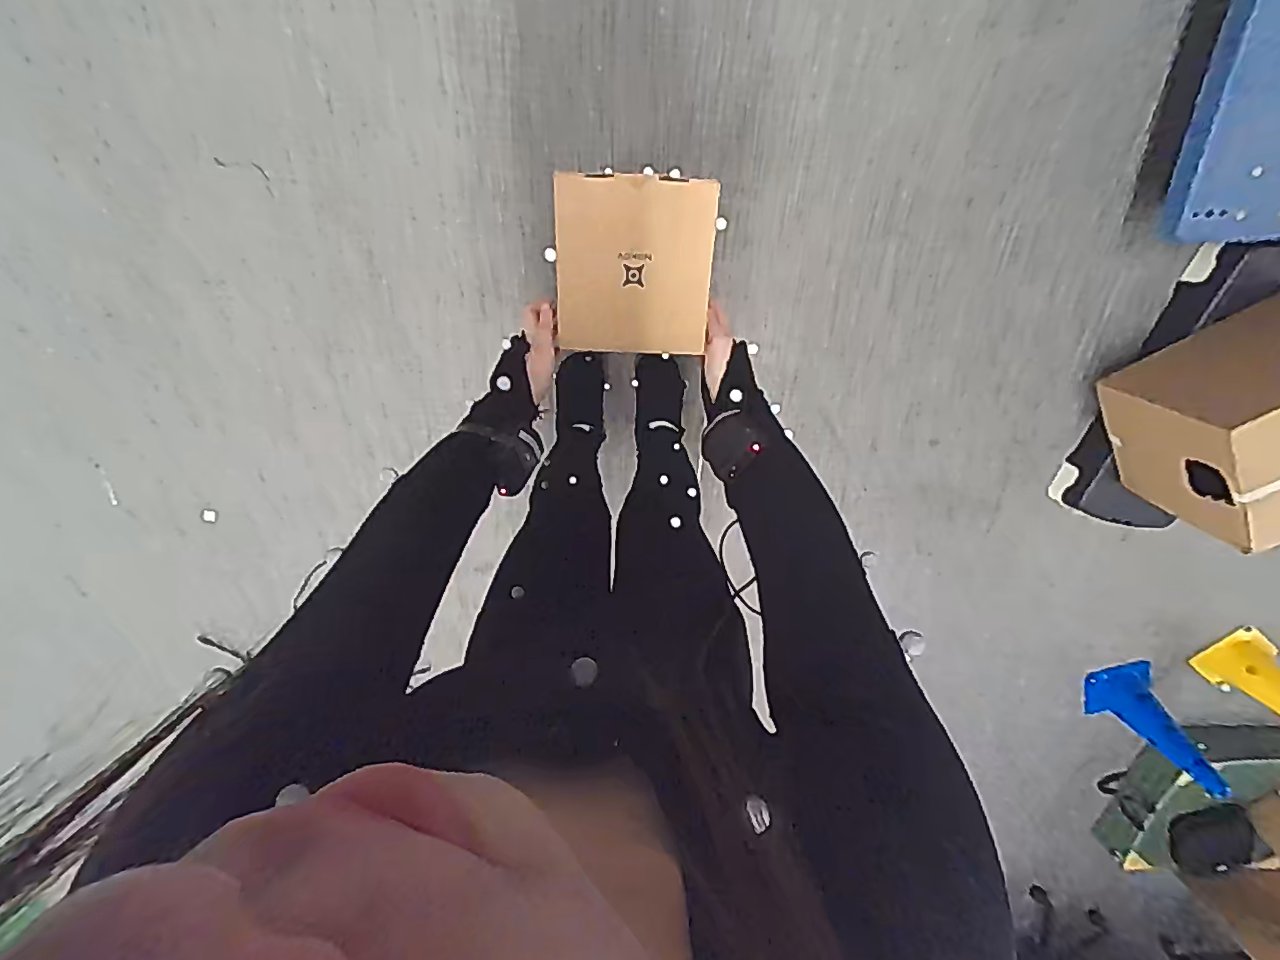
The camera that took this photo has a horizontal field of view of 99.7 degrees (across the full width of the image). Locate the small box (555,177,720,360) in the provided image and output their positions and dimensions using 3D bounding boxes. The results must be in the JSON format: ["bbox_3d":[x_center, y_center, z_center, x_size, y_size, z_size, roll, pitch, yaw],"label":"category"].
[{"bbox_3d":[-0.006,-0.252,0.639,0.168,0.176,0.179,2,117,-2],"label":"small box"}]
